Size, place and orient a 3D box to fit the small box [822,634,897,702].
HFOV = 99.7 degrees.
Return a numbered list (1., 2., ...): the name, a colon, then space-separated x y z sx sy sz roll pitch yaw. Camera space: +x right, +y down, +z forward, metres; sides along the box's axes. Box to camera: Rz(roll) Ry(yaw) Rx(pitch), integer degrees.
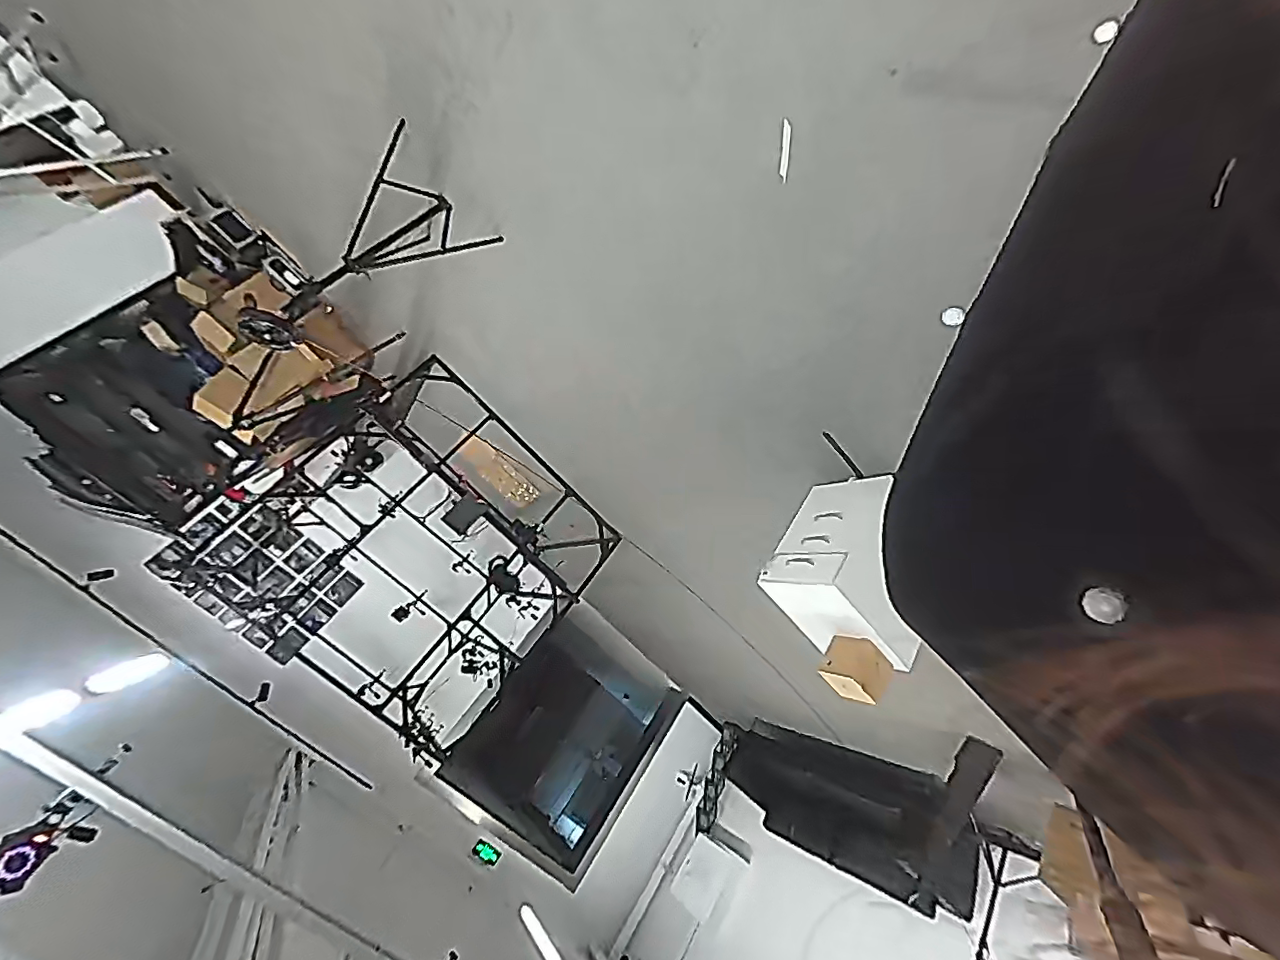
1. small box: 0.845 0.714 2.075 0.168 0.176 0.179 46 154 -15
